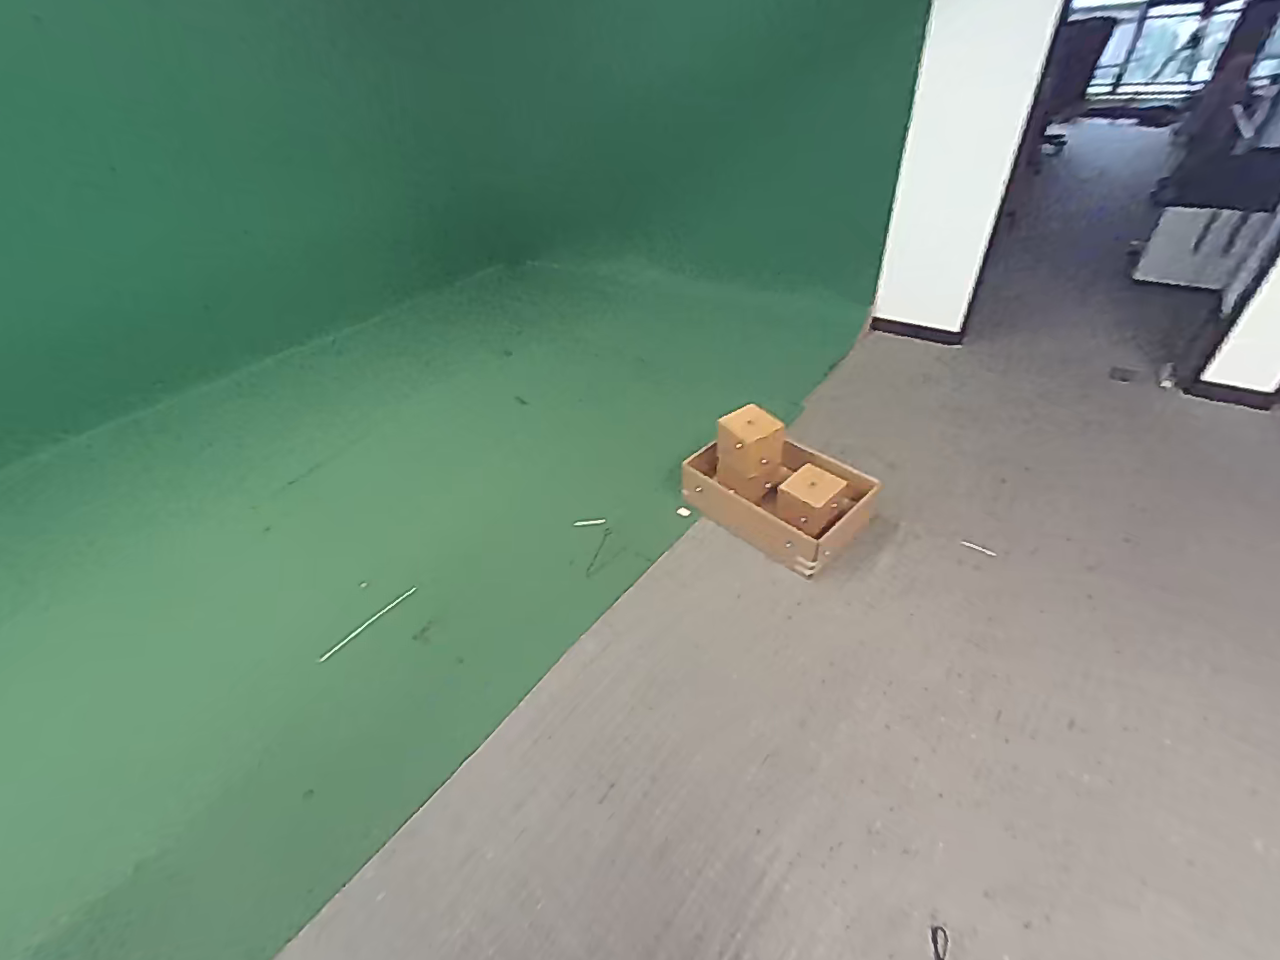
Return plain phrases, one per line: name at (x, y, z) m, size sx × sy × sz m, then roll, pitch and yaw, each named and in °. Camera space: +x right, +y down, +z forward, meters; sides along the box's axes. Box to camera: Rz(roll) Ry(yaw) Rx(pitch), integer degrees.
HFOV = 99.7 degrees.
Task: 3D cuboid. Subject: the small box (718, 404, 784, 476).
small box at (0.398, -0.146, 1.969) m, size 0.168 × 0.176 × 0.179 m, roll -27°, pitch 46°, yaw -21°
